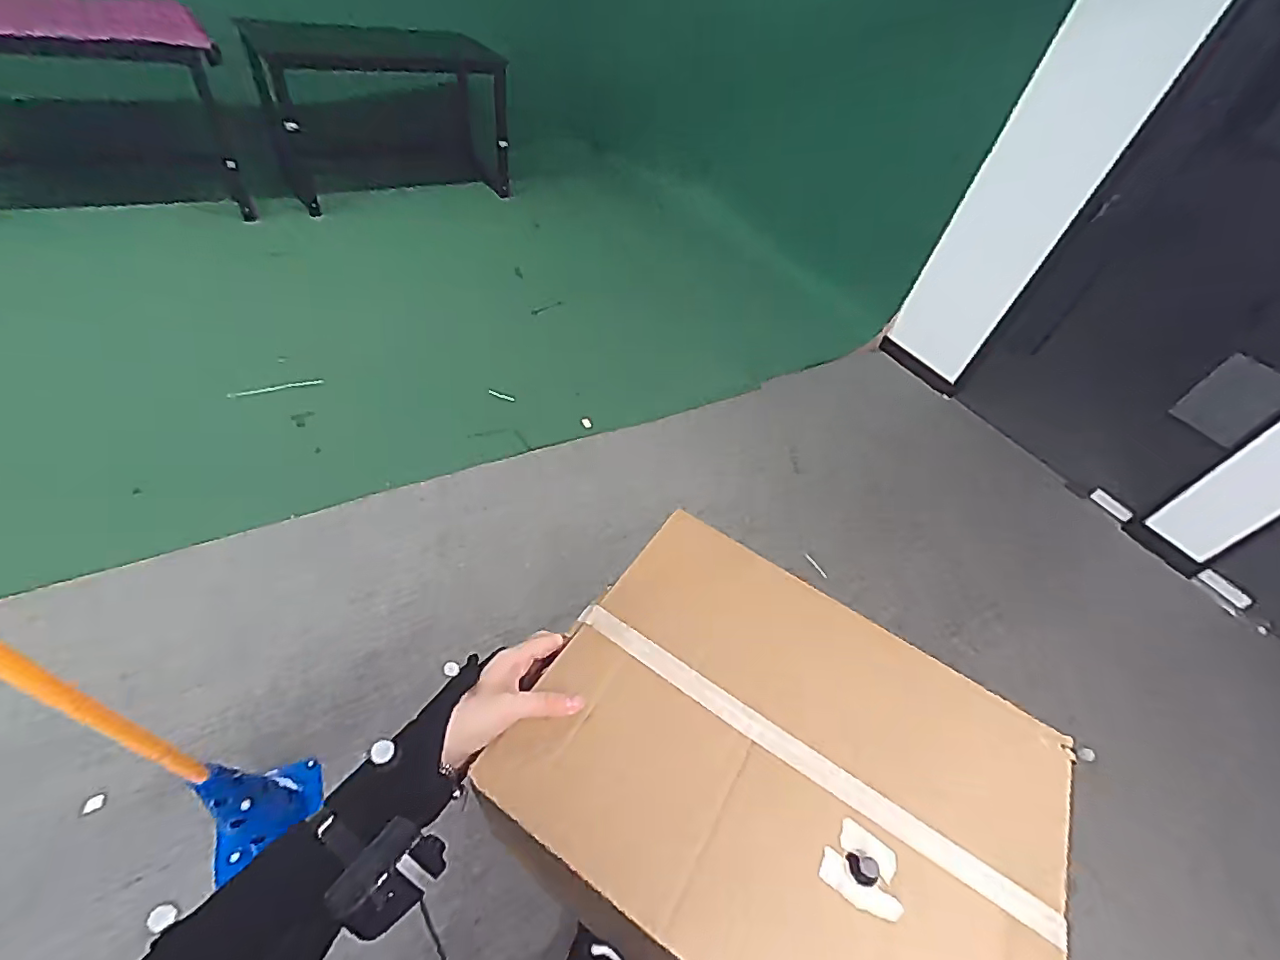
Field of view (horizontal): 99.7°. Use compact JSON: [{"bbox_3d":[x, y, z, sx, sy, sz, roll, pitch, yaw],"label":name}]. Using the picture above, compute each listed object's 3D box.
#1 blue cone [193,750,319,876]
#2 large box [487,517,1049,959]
[{"bbox_3d":[-0.782,0.621,1.063,0.193,0.380,0.192,-10,50,-22],"label":"blue cone"},{"bbox_3d":[0.102,0.316,0.554,0.408,0.320,0.320,31,51,15],"label":"large box"}]
